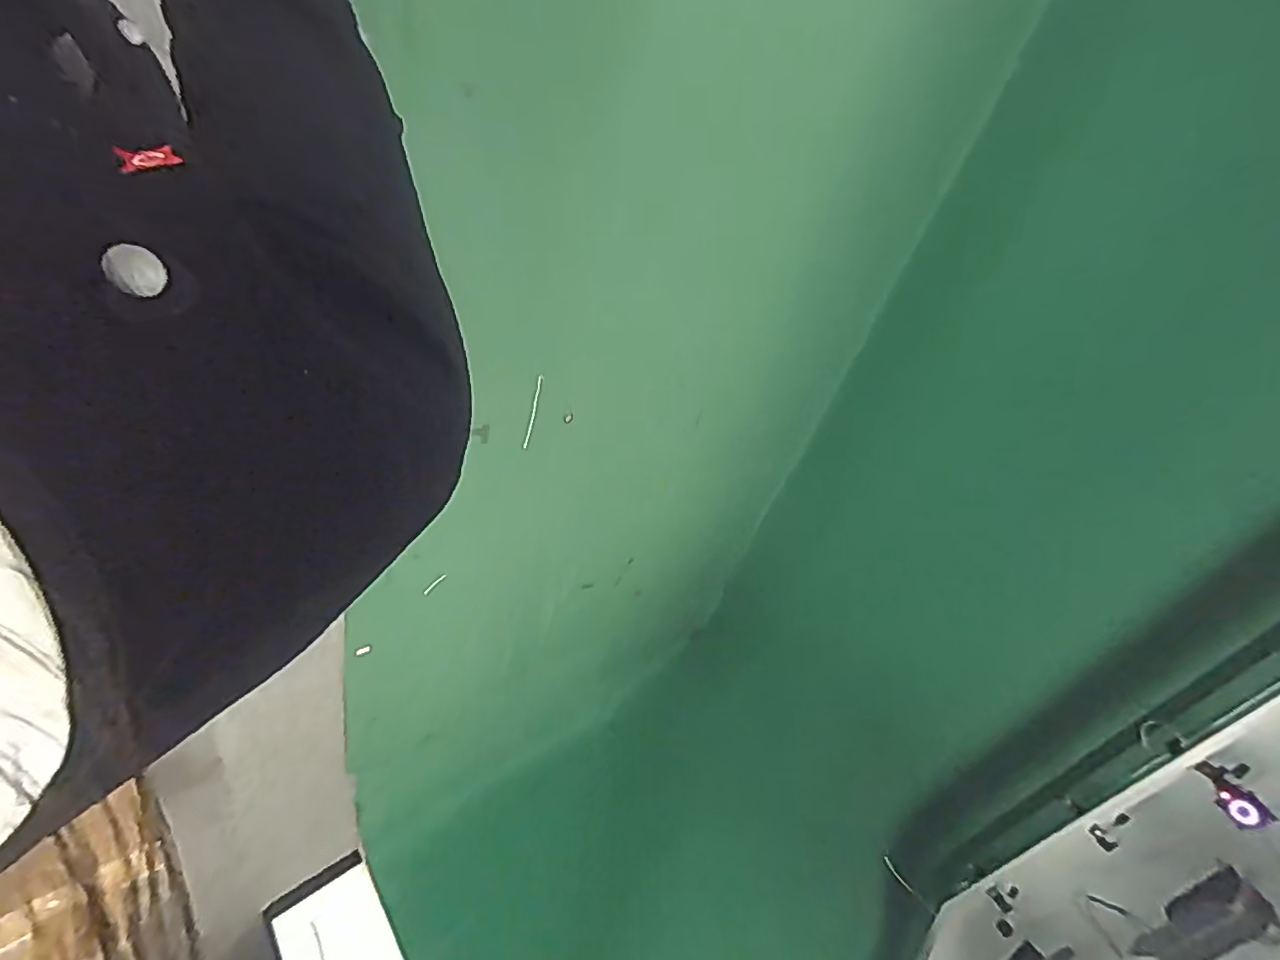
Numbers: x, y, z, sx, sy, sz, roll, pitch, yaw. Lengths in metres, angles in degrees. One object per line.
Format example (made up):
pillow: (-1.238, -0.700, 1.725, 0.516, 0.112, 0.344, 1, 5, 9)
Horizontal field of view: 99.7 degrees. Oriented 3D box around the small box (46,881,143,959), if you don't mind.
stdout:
small box: (-1.535, 1.296, 1.522, 0.179, 0.176, 0.168, -10, 129, -46)
